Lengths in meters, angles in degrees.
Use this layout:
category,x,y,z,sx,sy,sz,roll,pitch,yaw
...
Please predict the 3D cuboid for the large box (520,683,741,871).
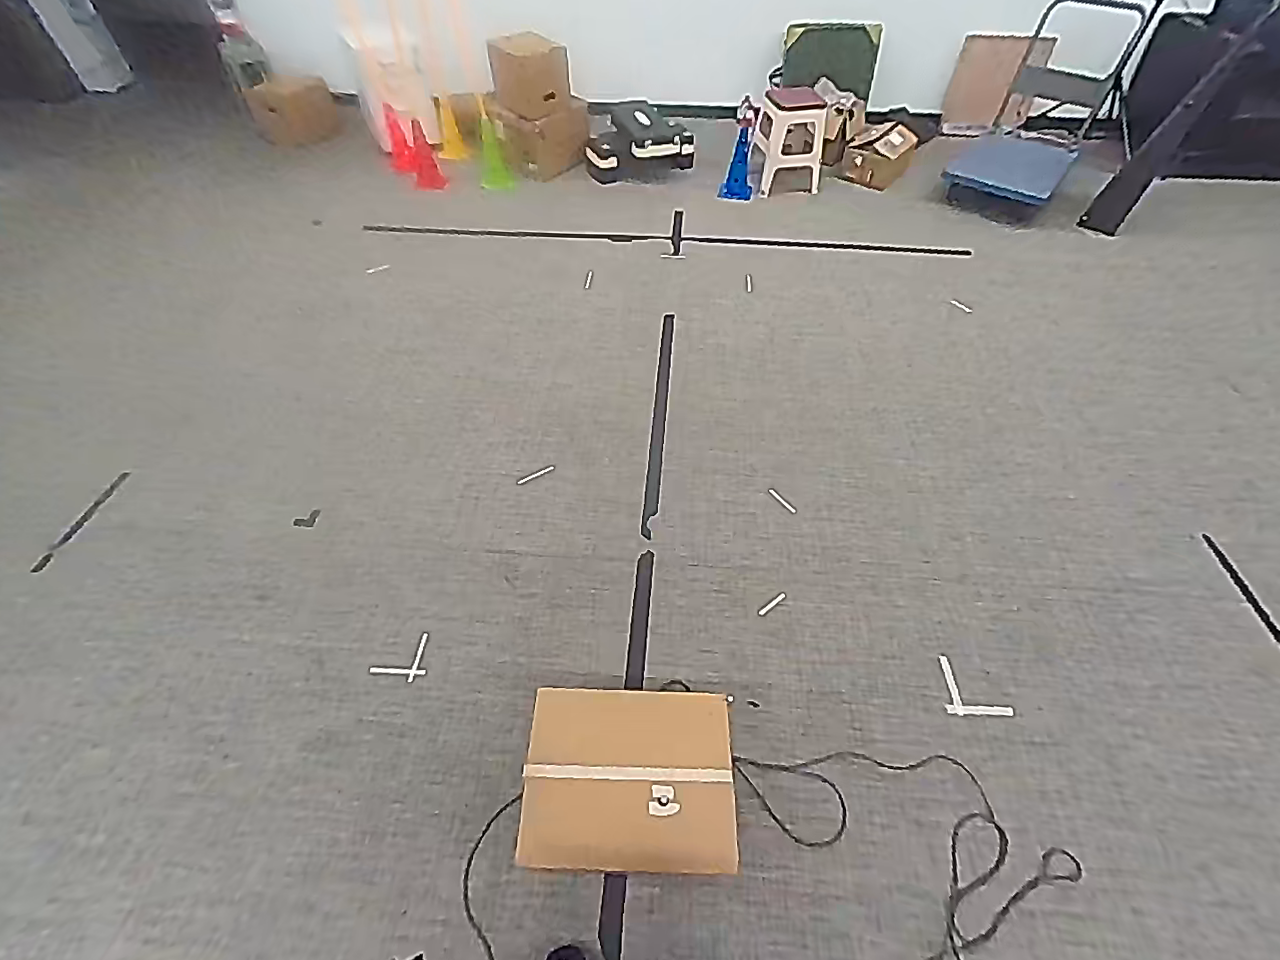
category,x,y,z,sx,sy,sz,roll,pitch,yaw
large box,-0.019,0.648,1.169,0.408,0.320,0.320,2,54,0
